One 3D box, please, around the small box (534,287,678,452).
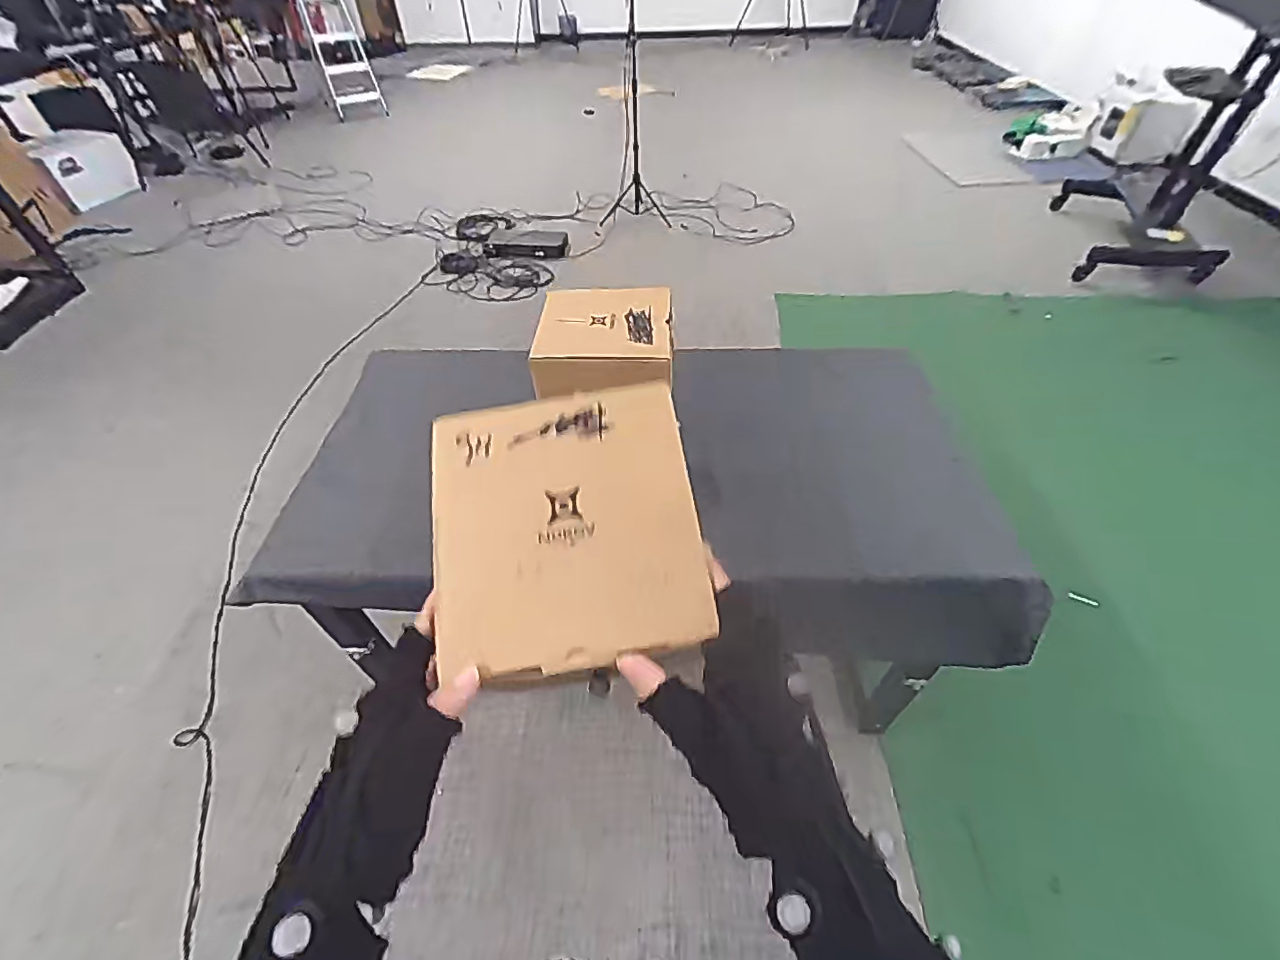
[{"bbox_3d":[-0.041,-0.152,0.762,0.179,0.176,0.168,0,49,0],"label":"small box"}]
